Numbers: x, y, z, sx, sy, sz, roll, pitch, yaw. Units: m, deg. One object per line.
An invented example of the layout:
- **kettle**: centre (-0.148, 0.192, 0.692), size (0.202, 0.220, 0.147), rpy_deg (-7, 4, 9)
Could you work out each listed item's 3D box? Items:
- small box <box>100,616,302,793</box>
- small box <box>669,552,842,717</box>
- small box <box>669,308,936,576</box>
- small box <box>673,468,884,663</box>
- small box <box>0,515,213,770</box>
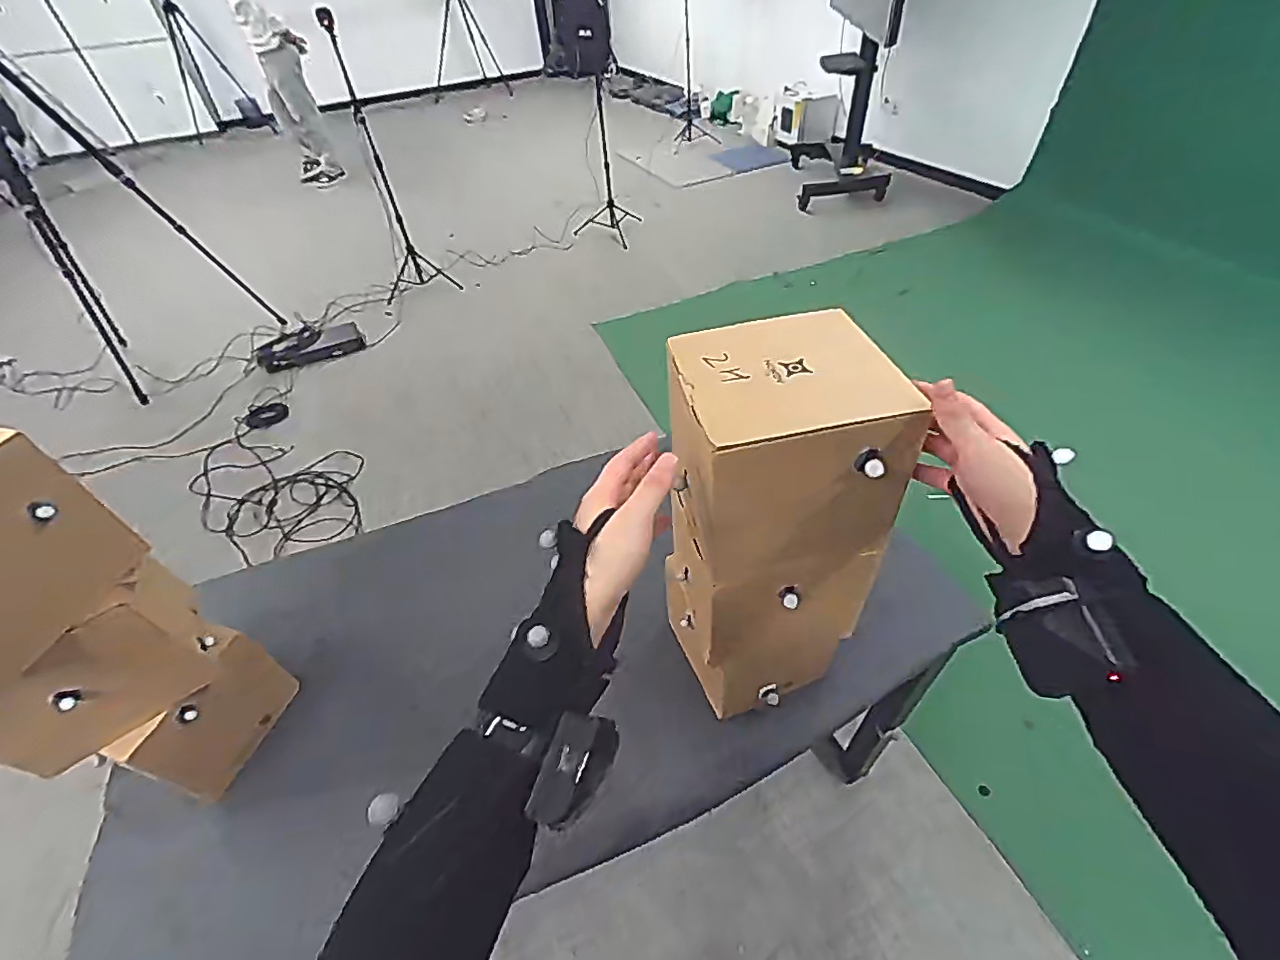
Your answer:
- **small box**: centre (-0.611, 0.290, 0.722), size (0.179, 0.176, 0.168), rpy_deg (10, 48, 14)
- **small box**: centre (0.149, 0.189, 0.745), size (0.168, 0.176, 0.179), rpy_deg (-20, 47, -12)
- **small box**: centre (0.131, -0.034, 0.507), size (0.179, 0.176, 0.168), rpy_deg (-12, 45, -2)
- **small box**: centre (0.142, 0.084, 0.620), size (0.179, 0.176, 0.168), rpy_deg (-12, 45, -4)
- **small box**: centre (-0.620, 0.178, 0.601), size (0.179, 0.176, 0.168), rpy_deg (-35, 53, -25)
